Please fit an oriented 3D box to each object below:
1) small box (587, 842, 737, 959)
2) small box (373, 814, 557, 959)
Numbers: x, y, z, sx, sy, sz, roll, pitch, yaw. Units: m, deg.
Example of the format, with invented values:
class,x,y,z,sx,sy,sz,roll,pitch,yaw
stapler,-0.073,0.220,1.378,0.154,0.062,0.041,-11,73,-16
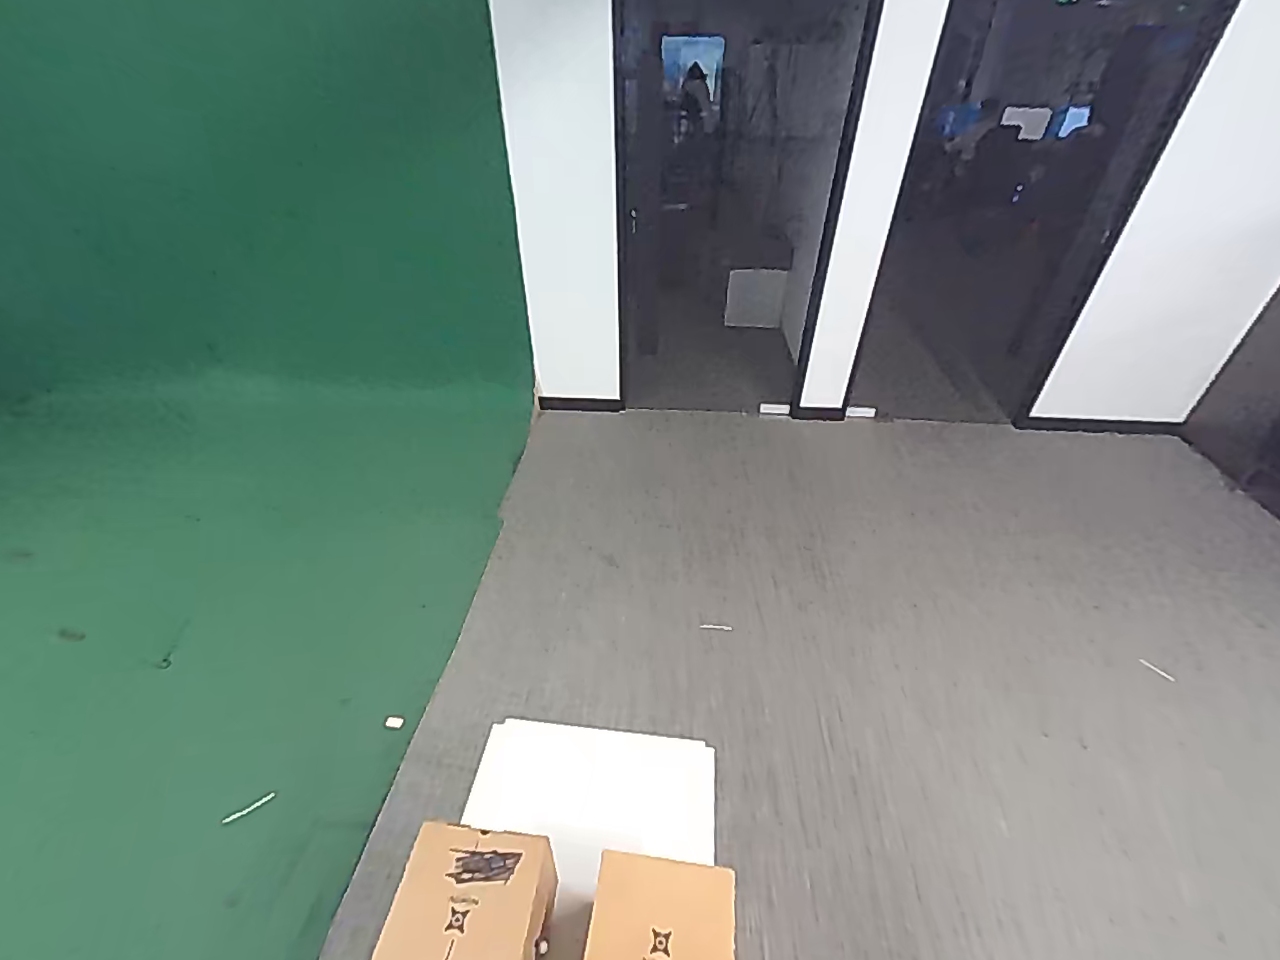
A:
class,x,y,z,sx,sy,sz,roll,pitch,yaw
small box,0.025,0.579,0.653,0.168,0.176,0.179,4,38,7
small box,-0.204,0.557,0.679,0.168,0.176,0.179,5,39,5
